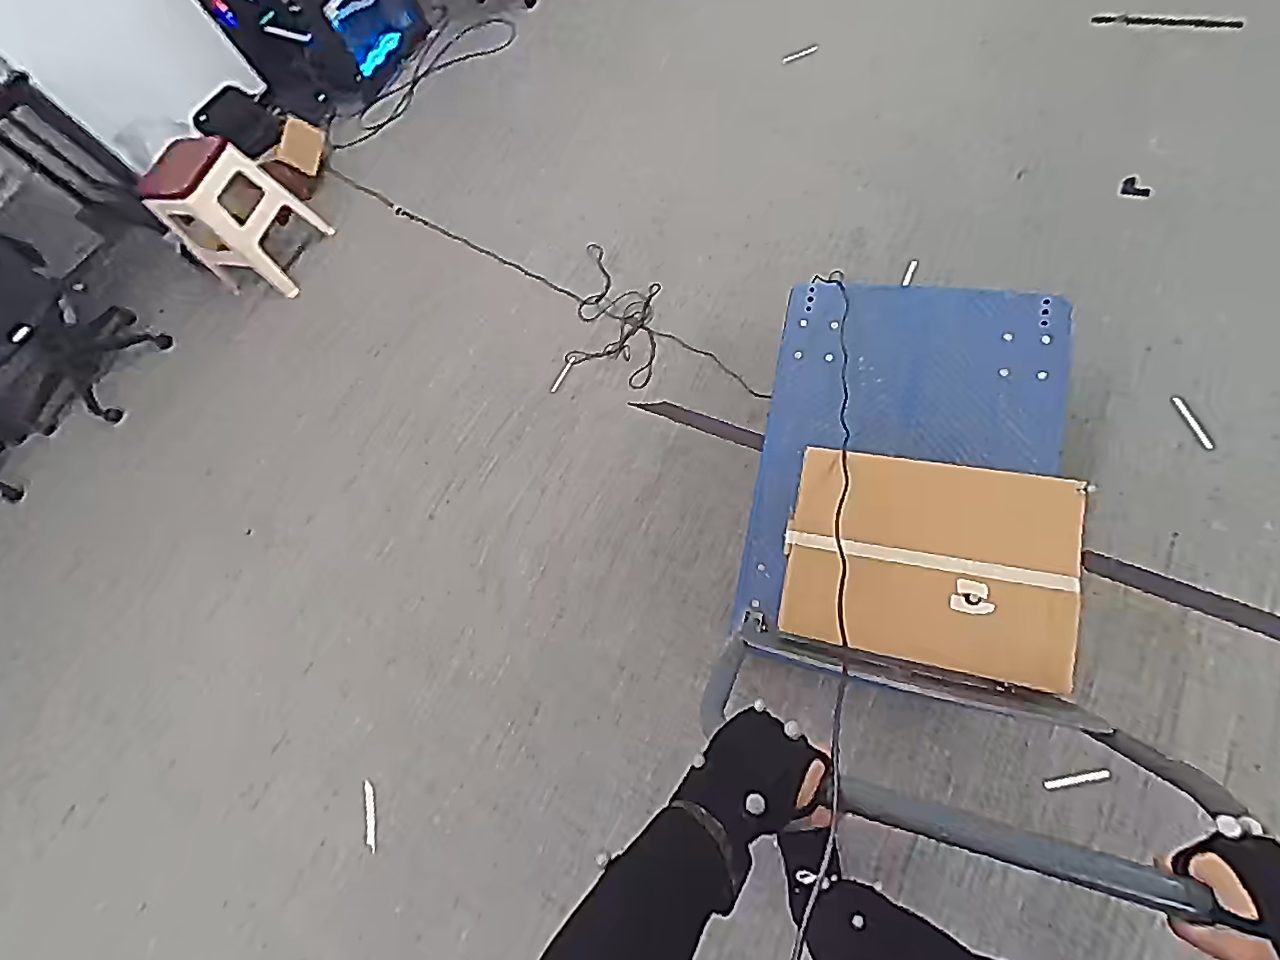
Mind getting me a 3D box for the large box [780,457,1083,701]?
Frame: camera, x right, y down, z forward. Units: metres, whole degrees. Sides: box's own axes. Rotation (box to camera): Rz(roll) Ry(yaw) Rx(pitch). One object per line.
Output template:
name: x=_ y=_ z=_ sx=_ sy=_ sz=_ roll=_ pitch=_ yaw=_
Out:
large box: x=0.474 y=0.166 z=0.970 sx=0.408 sy=0.320 sz=0.320 roll=9 pitch=81 yaw=16
